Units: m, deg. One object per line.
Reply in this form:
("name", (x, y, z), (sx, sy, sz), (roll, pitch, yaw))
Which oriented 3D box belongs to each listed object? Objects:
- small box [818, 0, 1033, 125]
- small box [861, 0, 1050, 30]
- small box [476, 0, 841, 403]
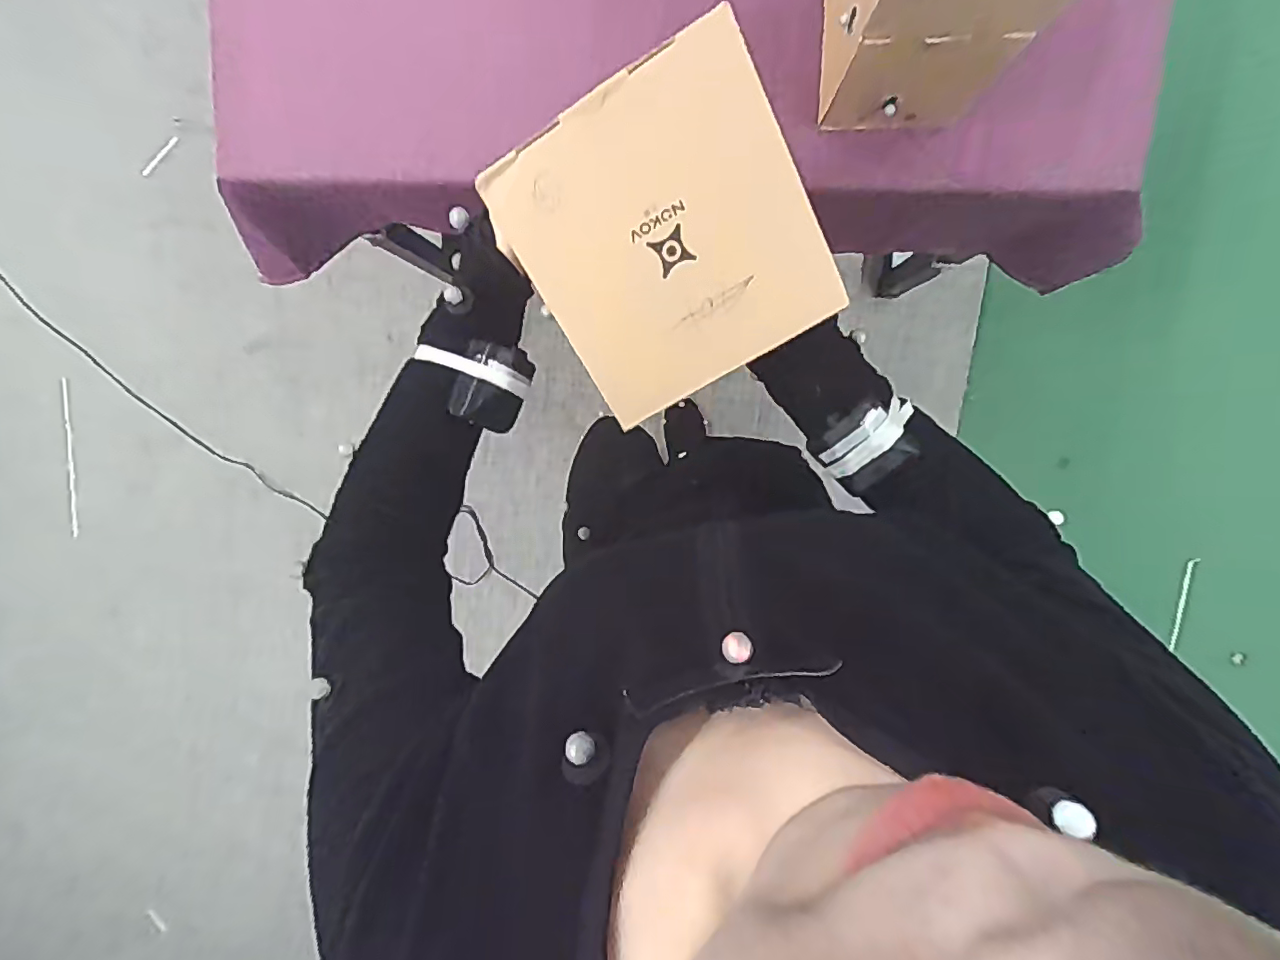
("small box", (0.300, -0.526, 0.593), (0.168, 0.176, 0.179), (1, 98, 4))
("small box", (0.291, -0.503, 0.431), (0.179, 0.176, 0.168), (1, 99, 4))
("small box", (0.015, -0.185, 0.398), (0.168, 0.176, 0.179), (-27, 110, 11))
